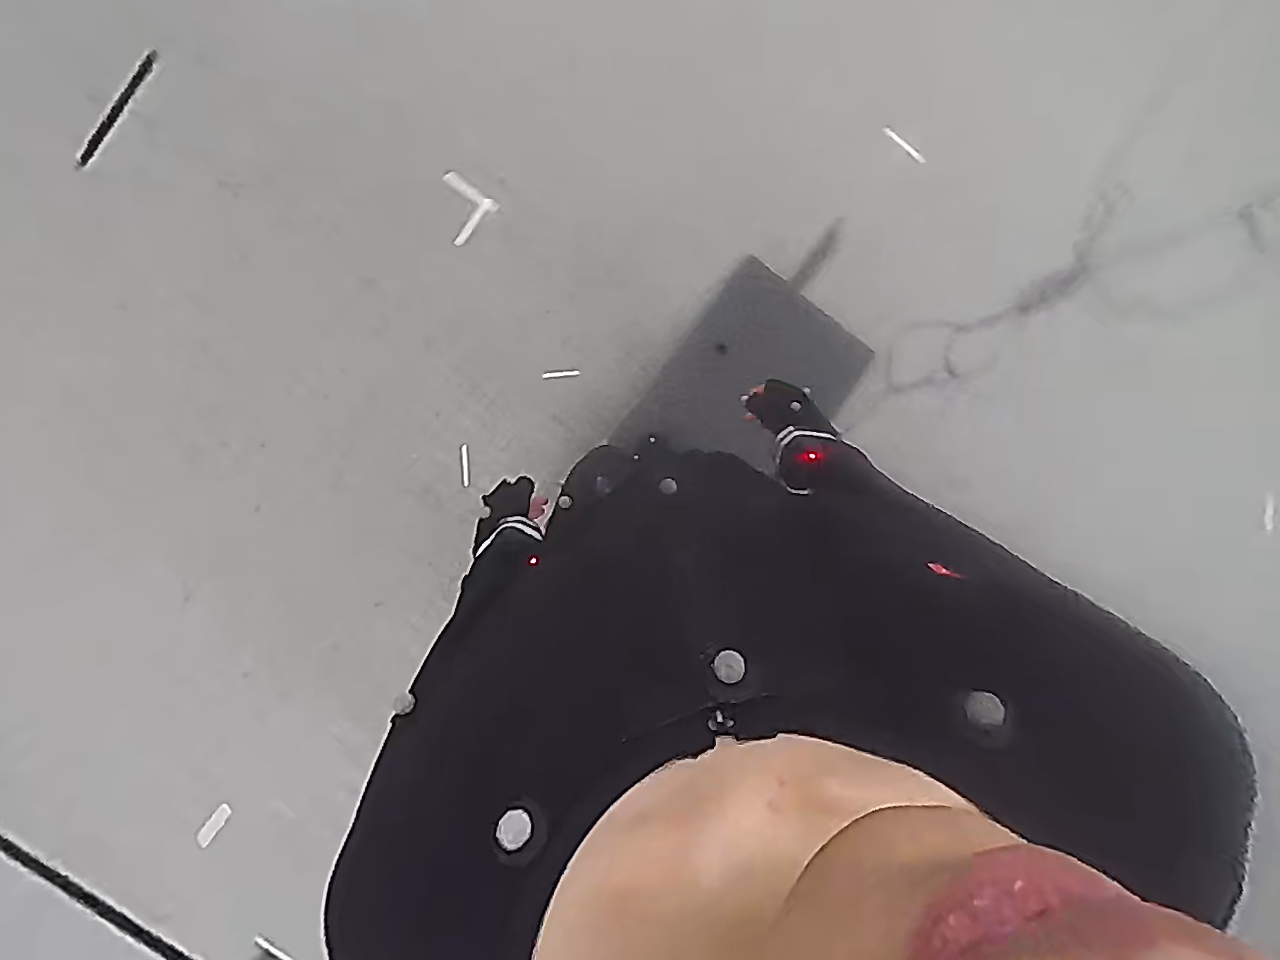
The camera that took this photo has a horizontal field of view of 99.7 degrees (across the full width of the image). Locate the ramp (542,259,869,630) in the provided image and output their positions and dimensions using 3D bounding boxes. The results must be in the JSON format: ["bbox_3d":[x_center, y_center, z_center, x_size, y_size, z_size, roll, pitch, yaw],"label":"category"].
[{"bbox_3d":[0.210,-0.126,1.543,0.509,0.206,0.991,35,92,-2],"label":"ramp"}]
